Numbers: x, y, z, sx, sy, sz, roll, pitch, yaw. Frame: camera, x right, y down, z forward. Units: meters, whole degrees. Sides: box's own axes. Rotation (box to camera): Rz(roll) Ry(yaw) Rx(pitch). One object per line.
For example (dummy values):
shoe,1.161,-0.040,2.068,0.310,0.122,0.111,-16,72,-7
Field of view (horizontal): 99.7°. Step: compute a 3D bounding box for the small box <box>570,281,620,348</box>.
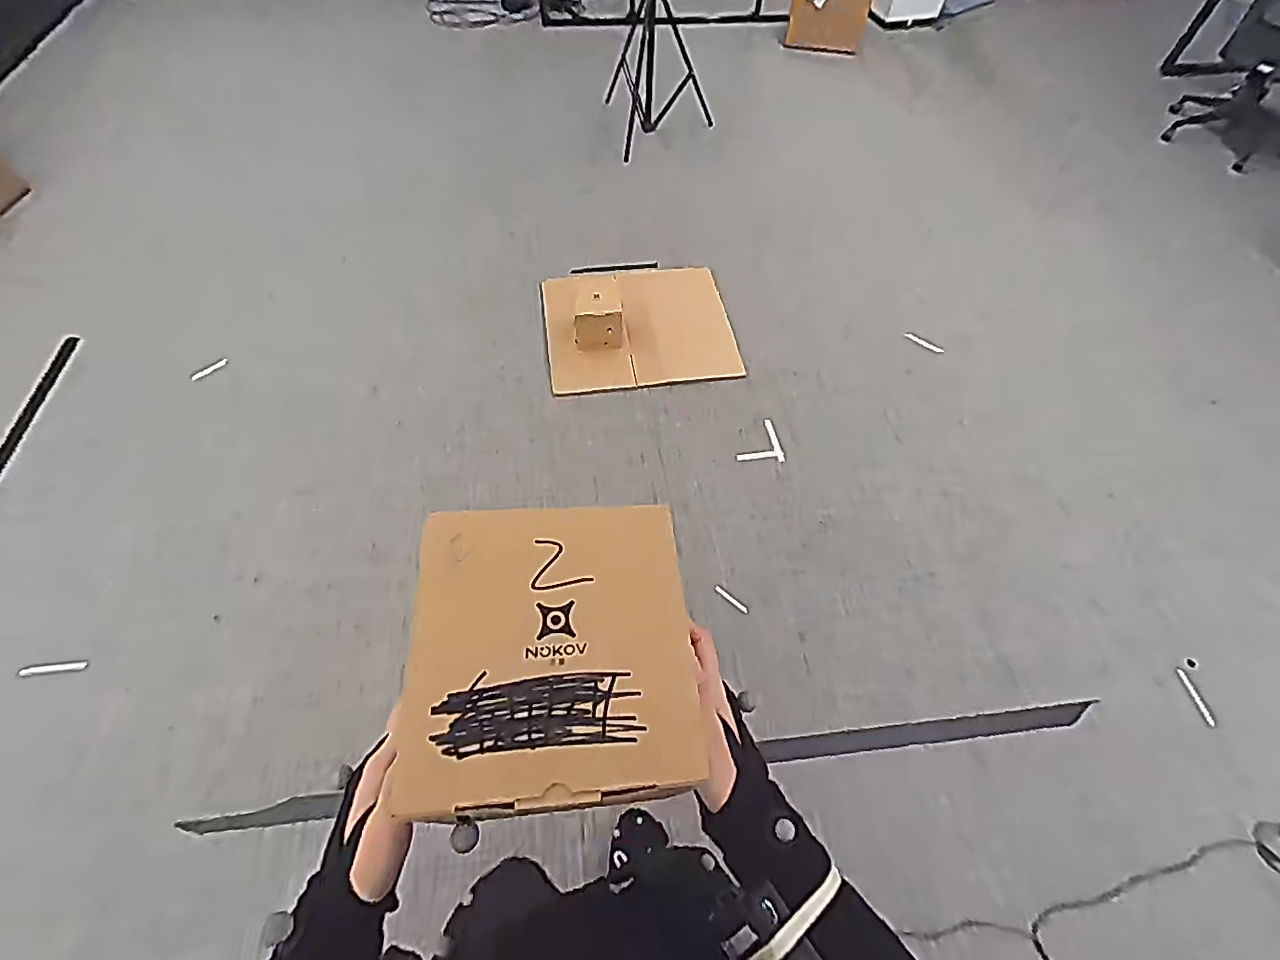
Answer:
small box,-0.163,-0.595,1.963,0.168,0.176,0.179,-5,58,-7
